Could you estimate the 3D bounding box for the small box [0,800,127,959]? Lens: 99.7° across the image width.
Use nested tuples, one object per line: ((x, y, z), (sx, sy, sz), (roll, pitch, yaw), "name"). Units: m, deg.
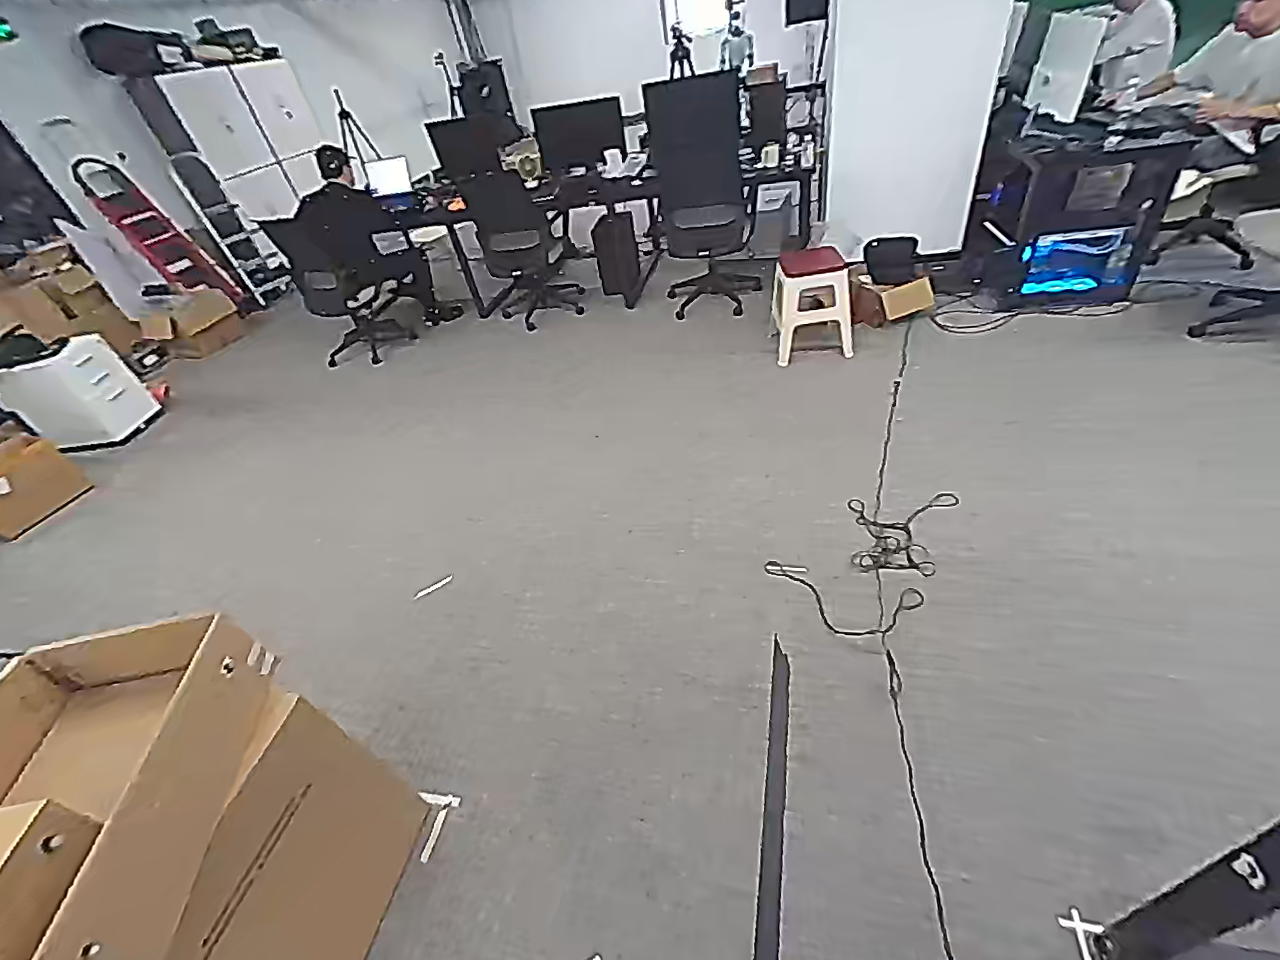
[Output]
((-0.890, 0.586, 0.756), (0.168, 0.176, 0.179), (-11, 40, 0), "small box")
